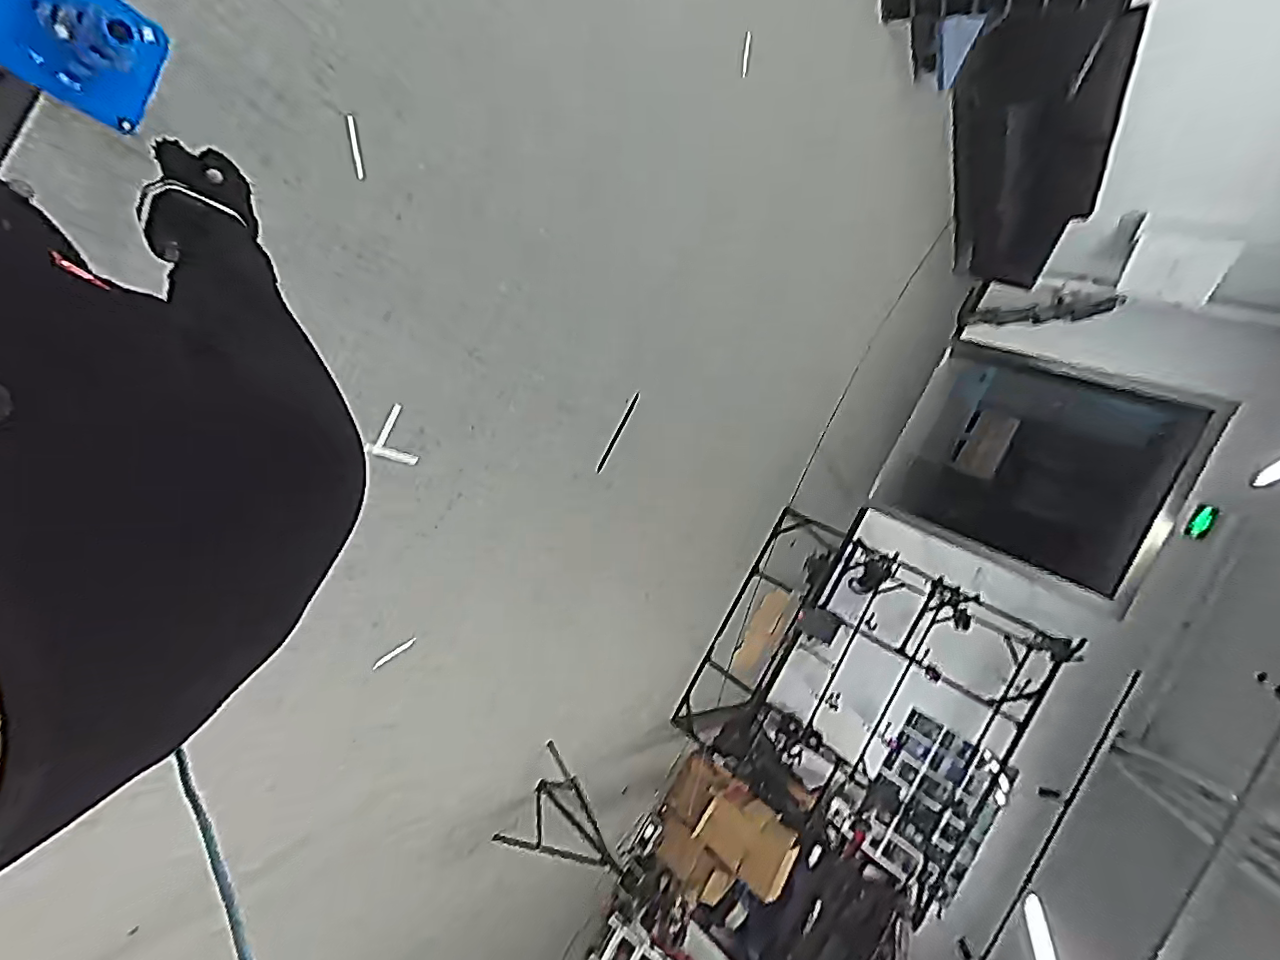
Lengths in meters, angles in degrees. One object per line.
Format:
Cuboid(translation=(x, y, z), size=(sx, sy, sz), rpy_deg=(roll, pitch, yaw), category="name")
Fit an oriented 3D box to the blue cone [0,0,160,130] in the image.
Cuboid(translation=(-0.821, -0.662, 0.814), size=(0.192, 0.380, 0.193), rpy_deg=(23, 95, -58), category="blue cone")
